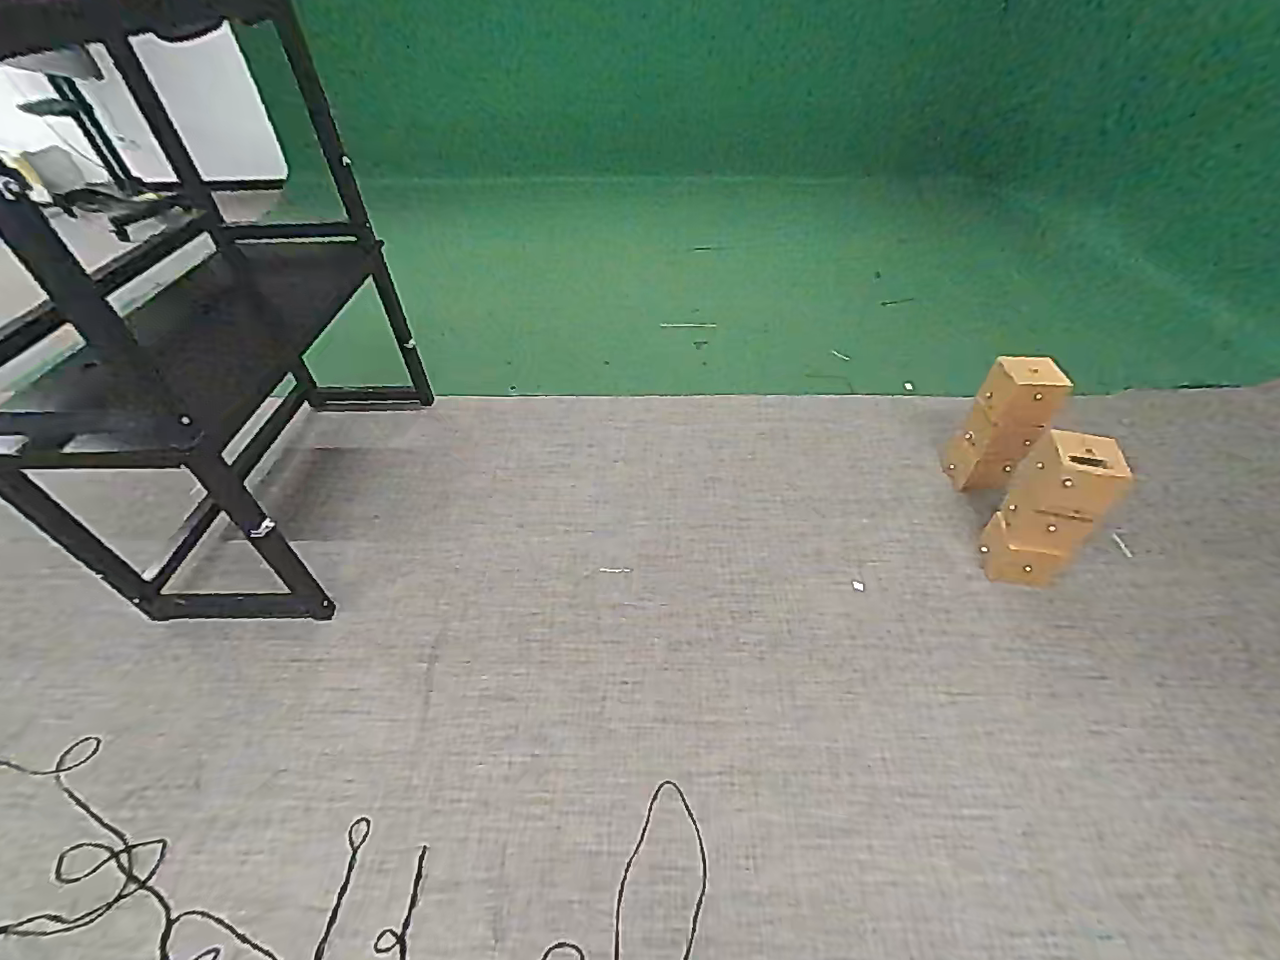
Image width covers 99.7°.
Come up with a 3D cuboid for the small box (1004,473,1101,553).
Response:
[{"bbox_3d":[1.254,0.104,1.665,0.179,0.176,0.168,10,45,12],"label":"small box"}]

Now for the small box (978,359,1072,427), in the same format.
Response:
[{"bbox_3d":[1.297,-0.293,1.837,0.179,0.176,0.168,2,44,3],"label":"small box"}]

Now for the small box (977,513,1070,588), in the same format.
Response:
[{"bbox_3d":[1.243,0.233,1.767,0.179,0.176,0.168,7,45,9],"label":"small box"}]

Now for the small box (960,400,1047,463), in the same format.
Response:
[{"bbox_3d":[1.302,-0.177,1.951,0.179,0.176,0.168,-2,44,-1],"label":"small box"}]

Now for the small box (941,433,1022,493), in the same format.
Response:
[{"bbox_3d":[1.299,-0.065,2.068,0.179,0.176,0.168,-2,44,-2],"label":"small box"}]
